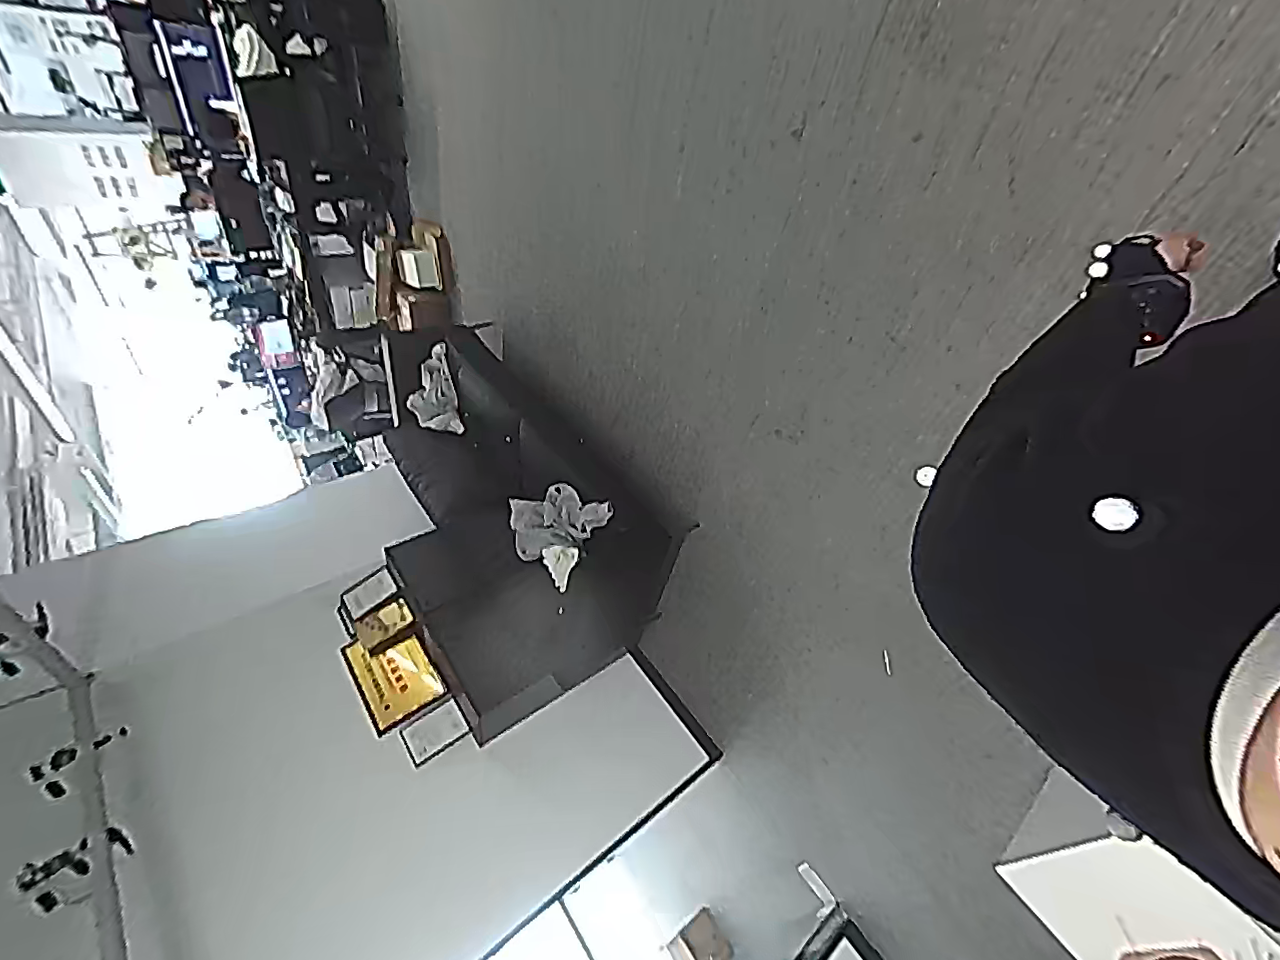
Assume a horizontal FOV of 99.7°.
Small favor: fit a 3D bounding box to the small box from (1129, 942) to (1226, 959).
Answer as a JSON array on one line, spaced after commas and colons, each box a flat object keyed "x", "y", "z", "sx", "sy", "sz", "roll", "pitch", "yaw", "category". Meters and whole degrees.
[{"x": 0.935, "y": 0.916, "z": 0.894, "sx": 0.168, "sy": 0.176, "sz": 0.179, "roll": 45, "pitch": 141, "yaw": 29, "category": "small box"}]
